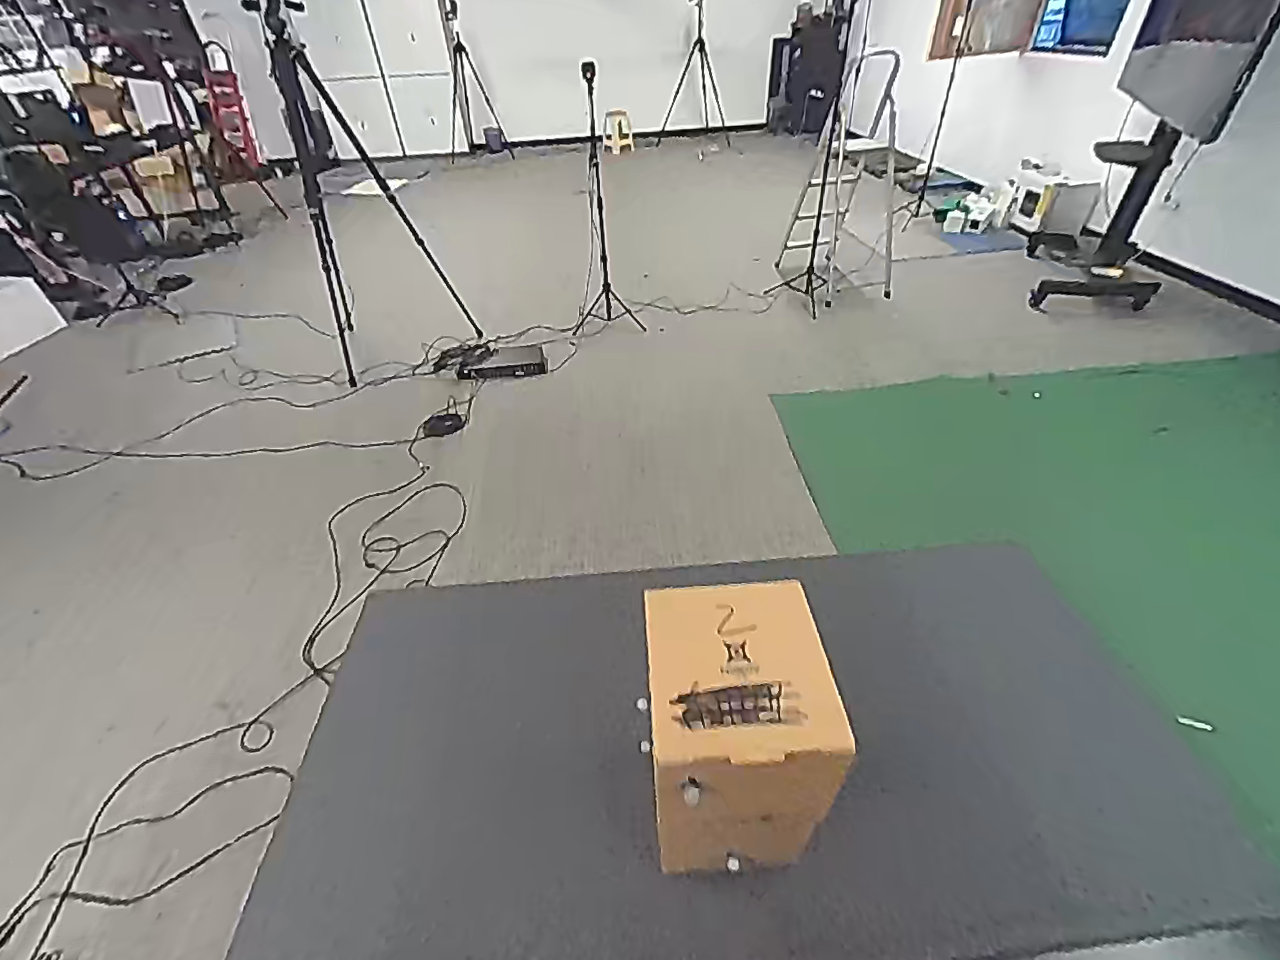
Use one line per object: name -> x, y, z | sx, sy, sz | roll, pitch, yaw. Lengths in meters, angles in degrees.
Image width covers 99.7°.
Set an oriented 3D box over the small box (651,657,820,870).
small box -> 0.099, 0.339, 0.654 | 0.168, 0.176, 0.179 | -4, 40, 0
